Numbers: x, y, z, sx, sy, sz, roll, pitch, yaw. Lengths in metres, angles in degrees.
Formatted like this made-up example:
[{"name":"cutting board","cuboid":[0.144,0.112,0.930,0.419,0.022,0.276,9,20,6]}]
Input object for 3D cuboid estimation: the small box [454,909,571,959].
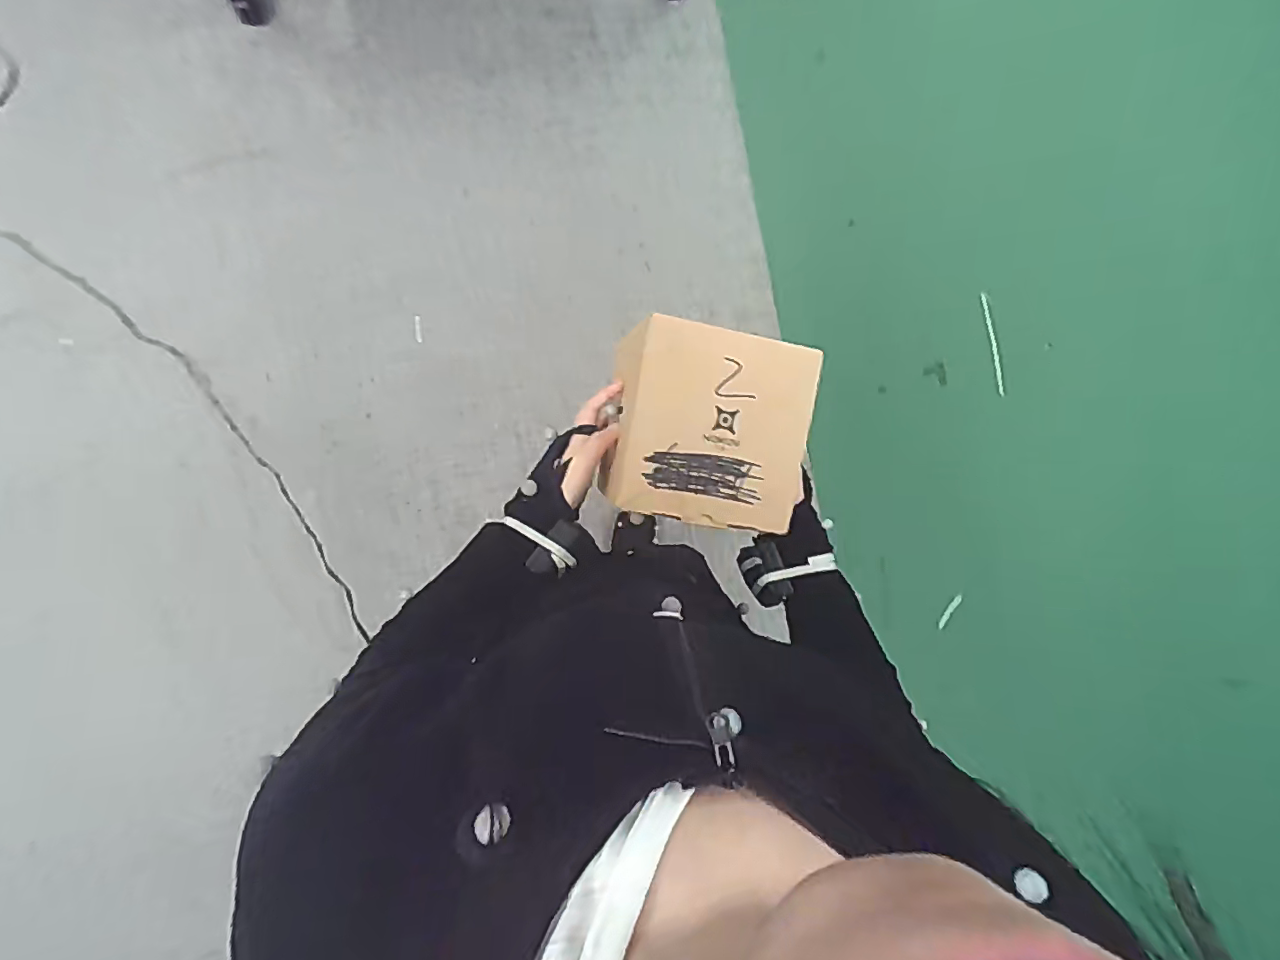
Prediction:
[{"name":"small box","cuboid":[-0.178,0.778,0.773,0.168,0.176,0.179,-12,91,-7]}]
